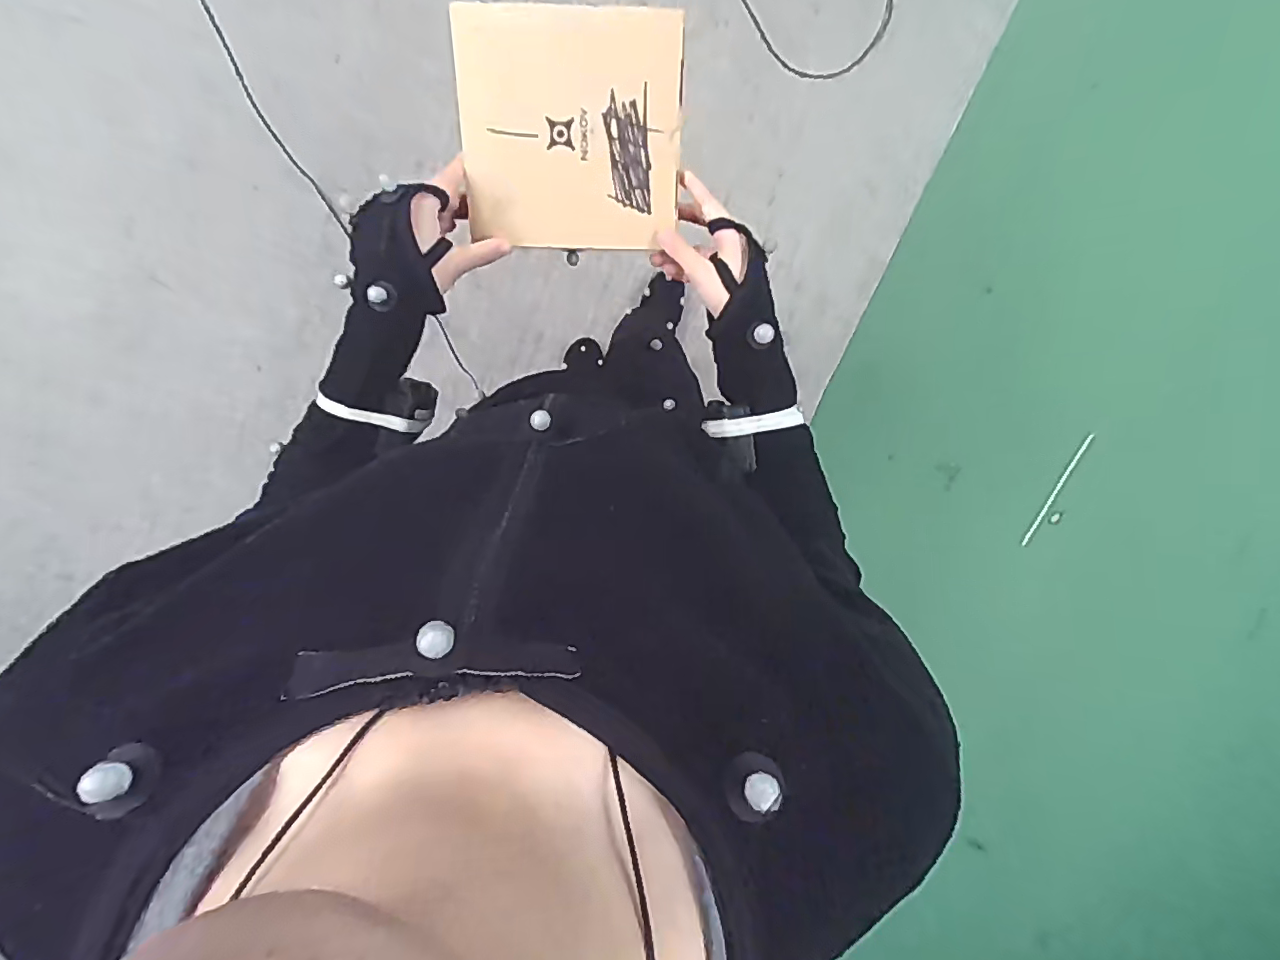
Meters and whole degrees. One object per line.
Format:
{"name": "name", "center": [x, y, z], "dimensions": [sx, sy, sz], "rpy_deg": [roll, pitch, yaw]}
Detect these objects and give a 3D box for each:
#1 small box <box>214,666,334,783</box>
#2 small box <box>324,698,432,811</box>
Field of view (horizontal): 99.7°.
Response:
{"name": "small box", "center": [-0.888, 0.592, 1.330], "dimensions": [0.168, 0.176, 0.179], "rpy_deg": [24, 102, -9]}
{"name": "small box", "center": [-0.653, 0.686, 1.367], "dimensions": [0.179, 0.176, 0.168], "rpy_deg": [22, 103, -7]}
